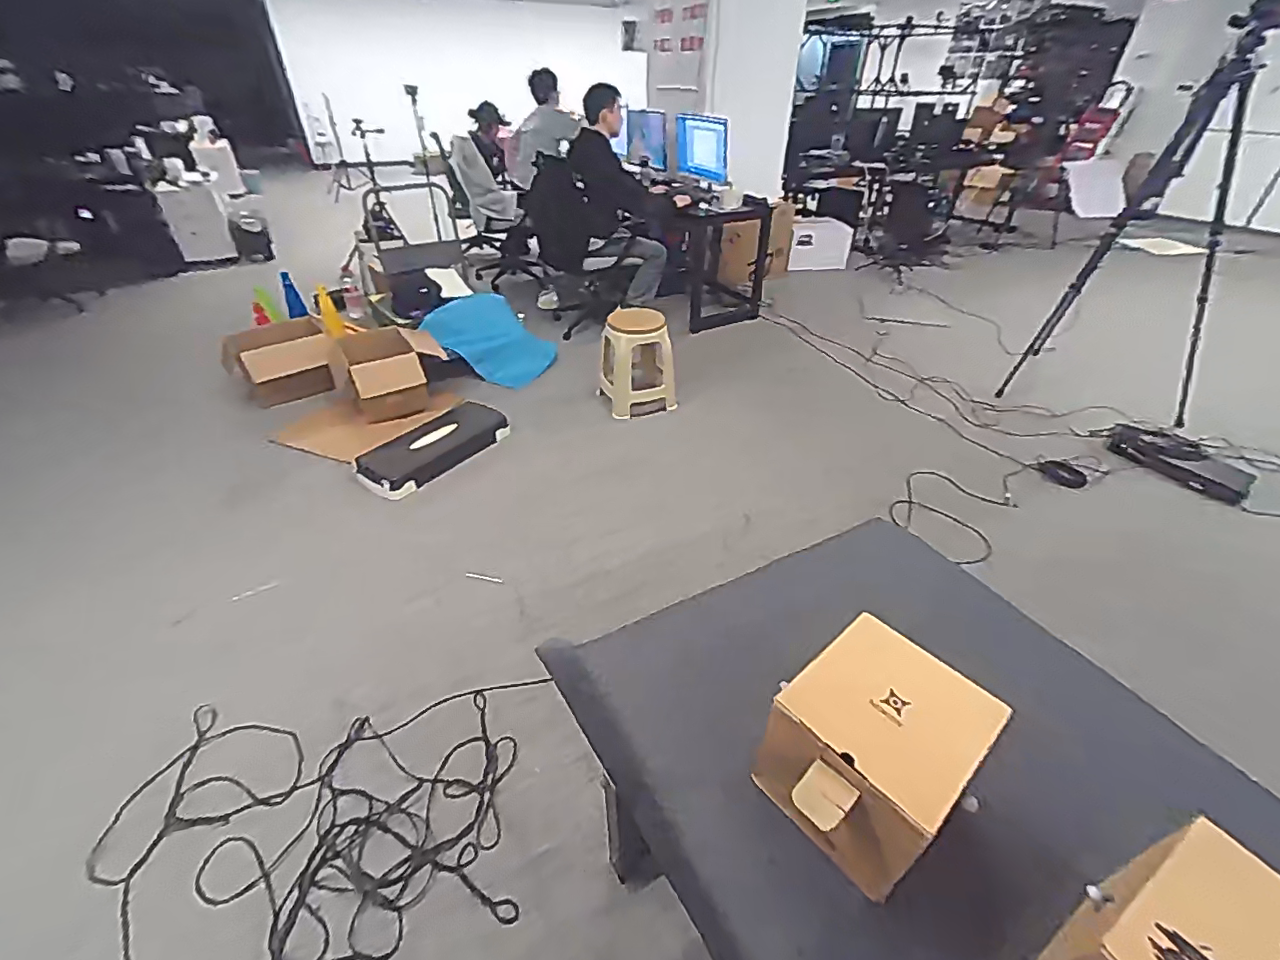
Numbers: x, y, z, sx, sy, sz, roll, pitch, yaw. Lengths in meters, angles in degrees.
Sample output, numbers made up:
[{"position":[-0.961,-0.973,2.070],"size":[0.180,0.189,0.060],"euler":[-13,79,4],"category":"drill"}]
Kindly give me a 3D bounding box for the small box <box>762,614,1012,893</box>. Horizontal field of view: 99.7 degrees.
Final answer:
[{"position":[0.252,0.290,0.588],"size":[0.179,0.176,0.168],"euler":[-27,46,-32],"category":"small box"}]
